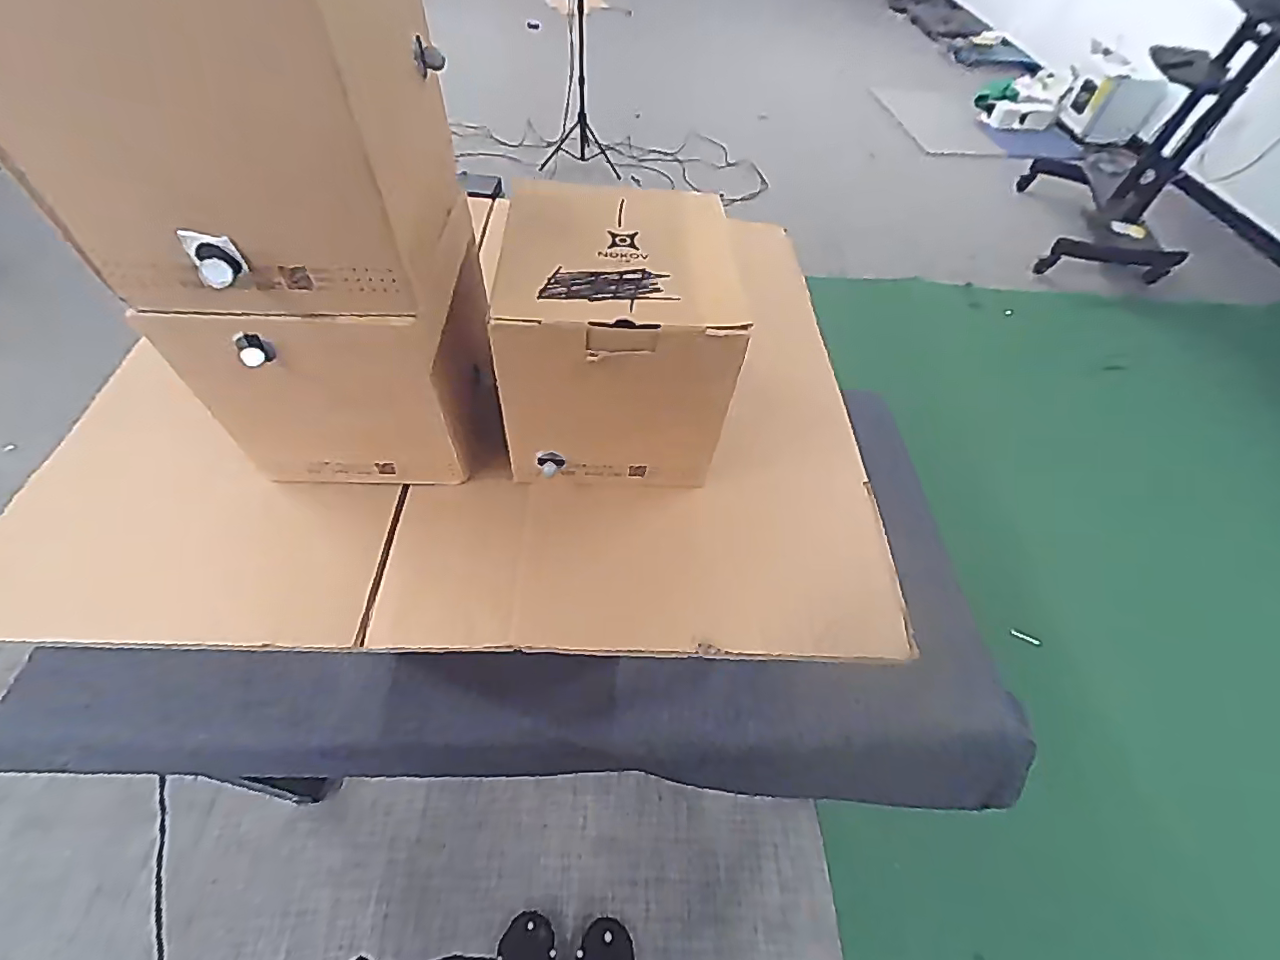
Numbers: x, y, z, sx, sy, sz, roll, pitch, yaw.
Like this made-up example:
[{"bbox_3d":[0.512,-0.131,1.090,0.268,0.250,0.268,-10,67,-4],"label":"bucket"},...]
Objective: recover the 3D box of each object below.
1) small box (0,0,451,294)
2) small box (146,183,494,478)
[{"bbox_3d":[-0.212,-0.228,0.300,0.168,0.176,0.179,-2,56,-5],"label":"small box"},{"bbox_3d":[-0.223,-0.123,0.443,0.168,0.176,0.179,1,53,-2],"label":"small box"}]
